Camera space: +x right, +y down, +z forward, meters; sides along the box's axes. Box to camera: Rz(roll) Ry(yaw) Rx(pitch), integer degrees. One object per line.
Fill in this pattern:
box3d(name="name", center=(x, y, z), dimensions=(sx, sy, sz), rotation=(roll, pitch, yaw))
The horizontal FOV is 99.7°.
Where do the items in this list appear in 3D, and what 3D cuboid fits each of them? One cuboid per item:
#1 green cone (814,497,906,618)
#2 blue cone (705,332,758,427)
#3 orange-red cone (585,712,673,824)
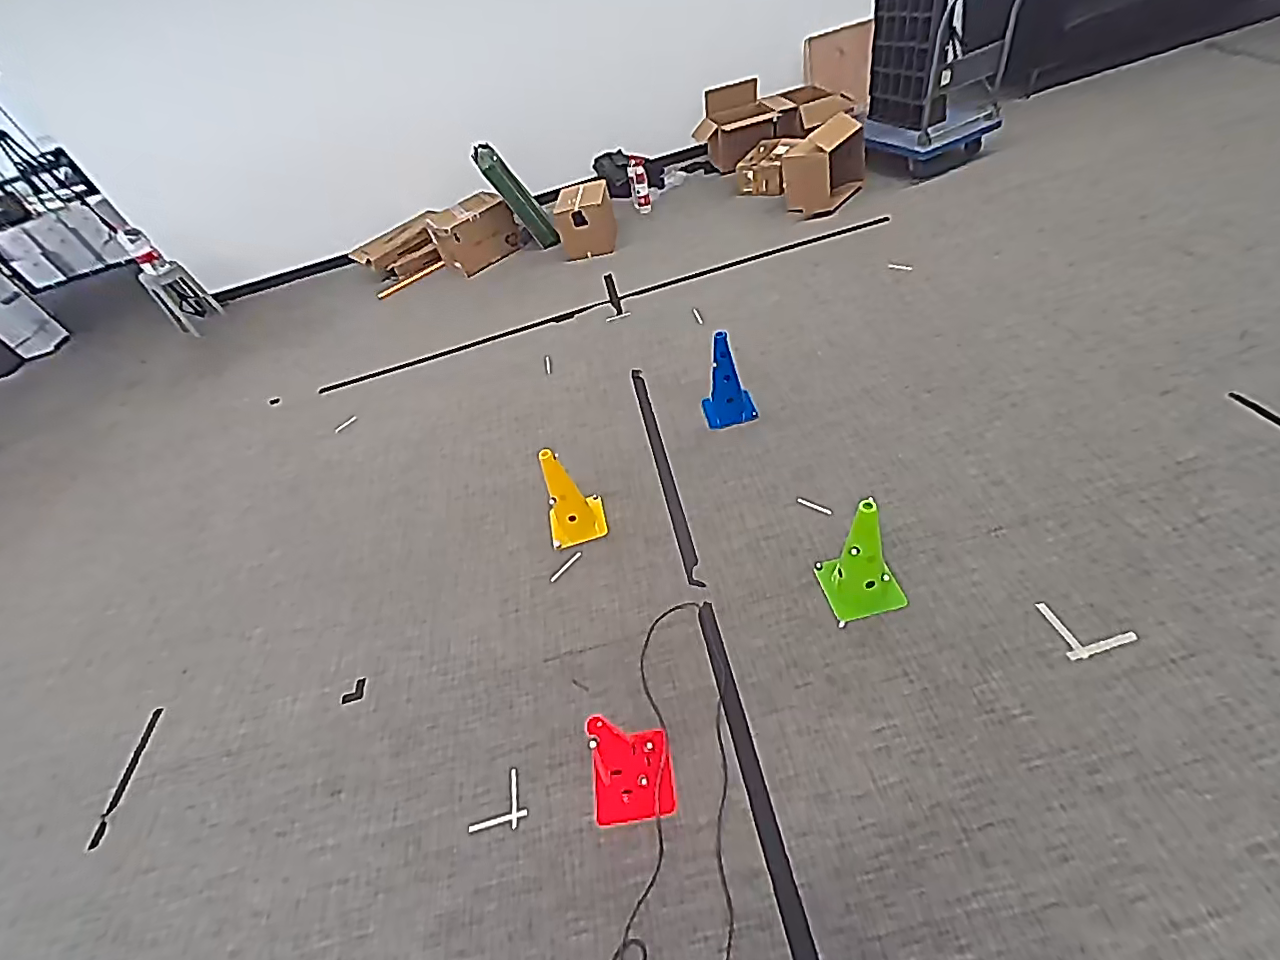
box3d(name="green cone", center=(0.596, 0.182, 1.442), dimensions=(0.202, 0.368, 0.200), rotation=(-15, 45, 1))
box3d(name="blue cone", center=(0.337, -0.402, 2.102), dimensions=(0.192, 0.380, 0.193), rotation=(-12, 45, 4))
box3d(name="orange-red cone", center=(-0.059, 0.618, 1.230), dimensions=(0.199, 0.360, 0.198), rotation=(-13, 44, 6))
